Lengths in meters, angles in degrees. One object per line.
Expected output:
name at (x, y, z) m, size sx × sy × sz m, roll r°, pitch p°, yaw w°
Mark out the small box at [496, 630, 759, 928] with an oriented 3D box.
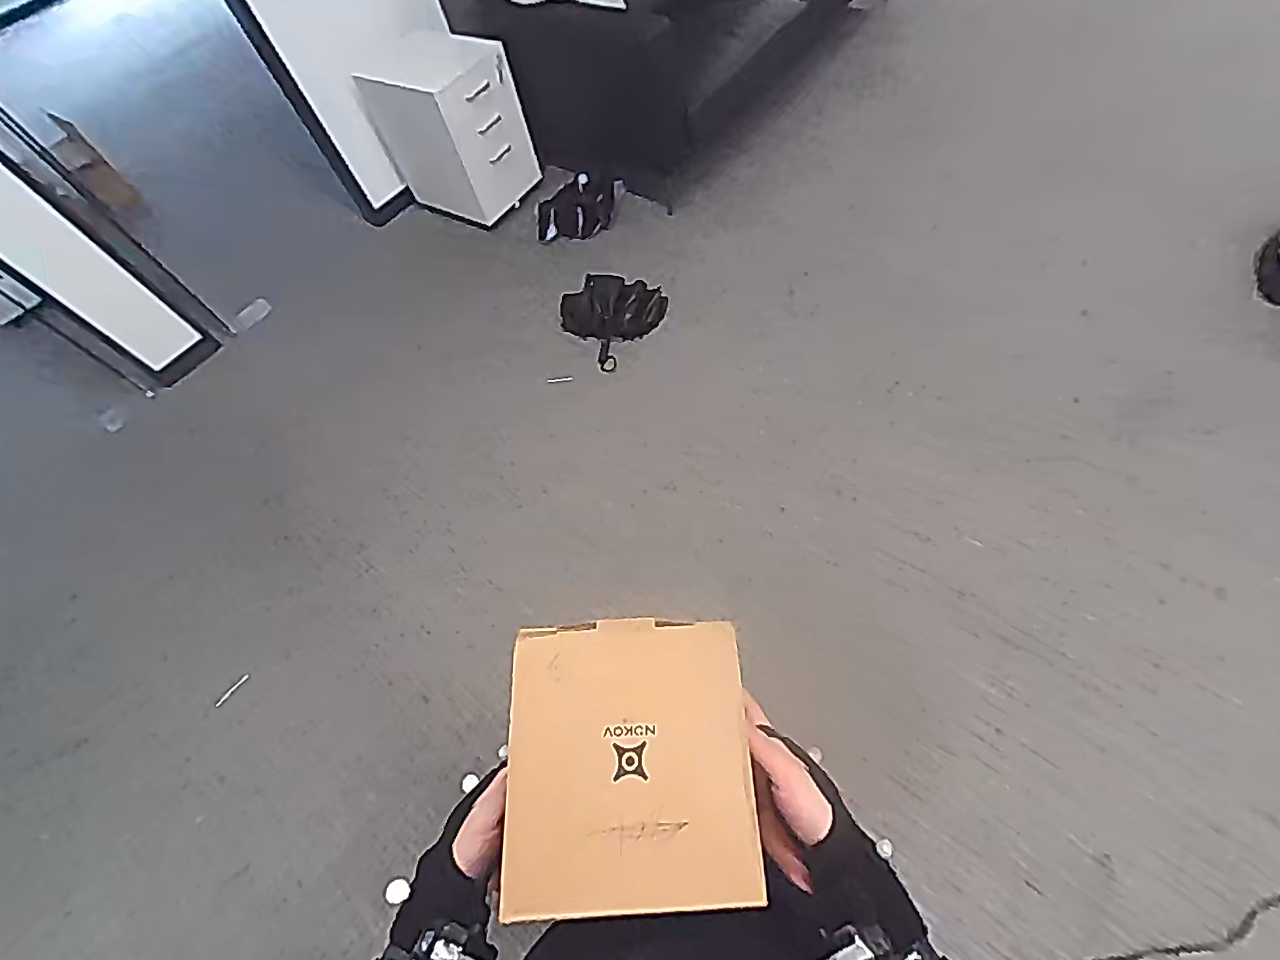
small box at (-0.012, 0.226, 0.439) m, size 0.168 × 0.176 × 0.179 m, roll -1°, pitch 65°, yaw -3°
